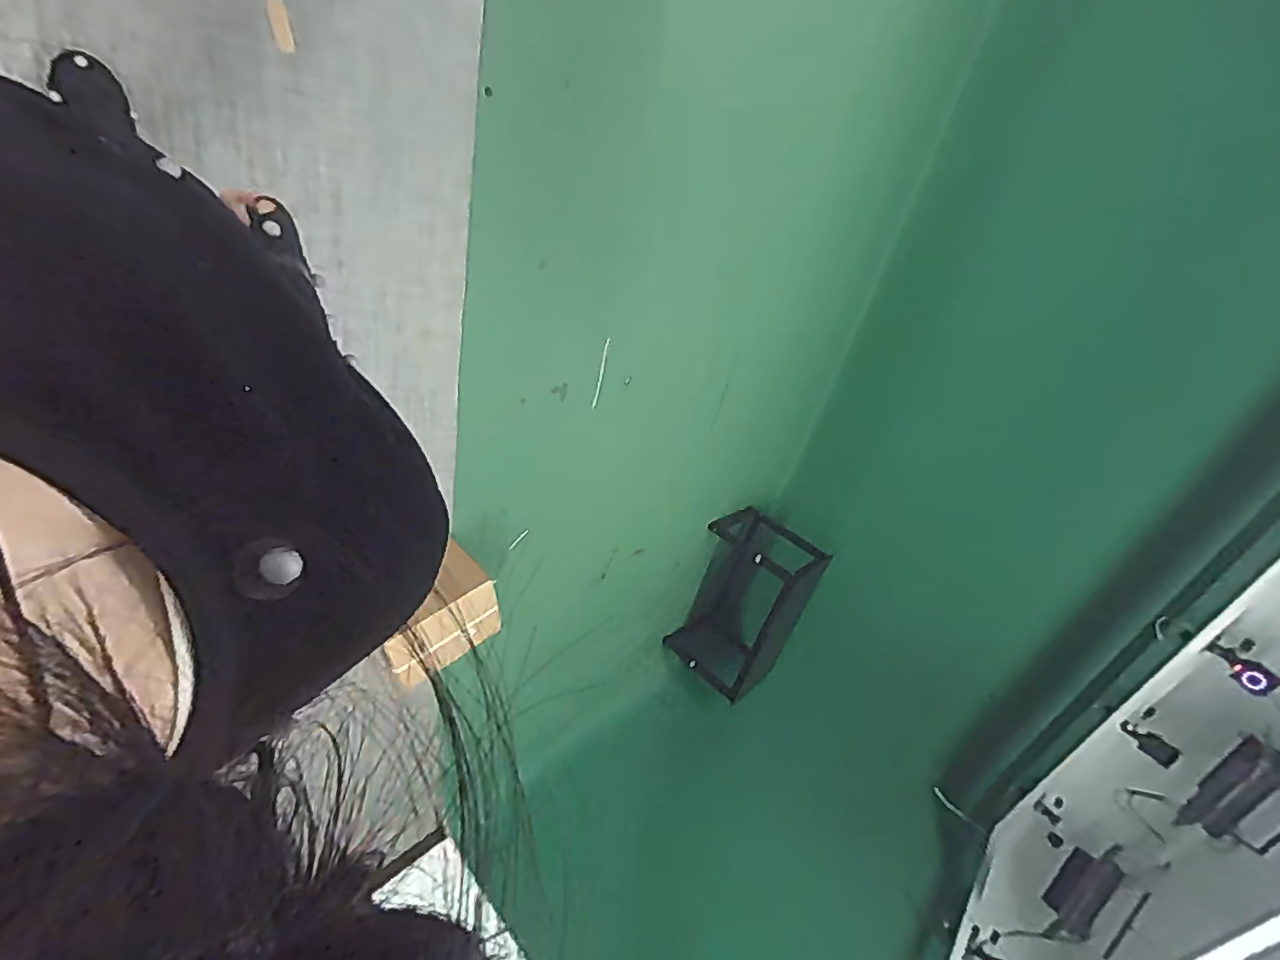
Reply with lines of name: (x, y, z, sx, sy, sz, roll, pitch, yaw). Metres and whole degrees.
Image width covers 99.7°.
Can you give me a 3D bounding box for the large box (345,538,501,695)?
large box: (-0.784, 0.488, 1.991, 0.408, 0.320, 0.320, -32, 142, -35)
